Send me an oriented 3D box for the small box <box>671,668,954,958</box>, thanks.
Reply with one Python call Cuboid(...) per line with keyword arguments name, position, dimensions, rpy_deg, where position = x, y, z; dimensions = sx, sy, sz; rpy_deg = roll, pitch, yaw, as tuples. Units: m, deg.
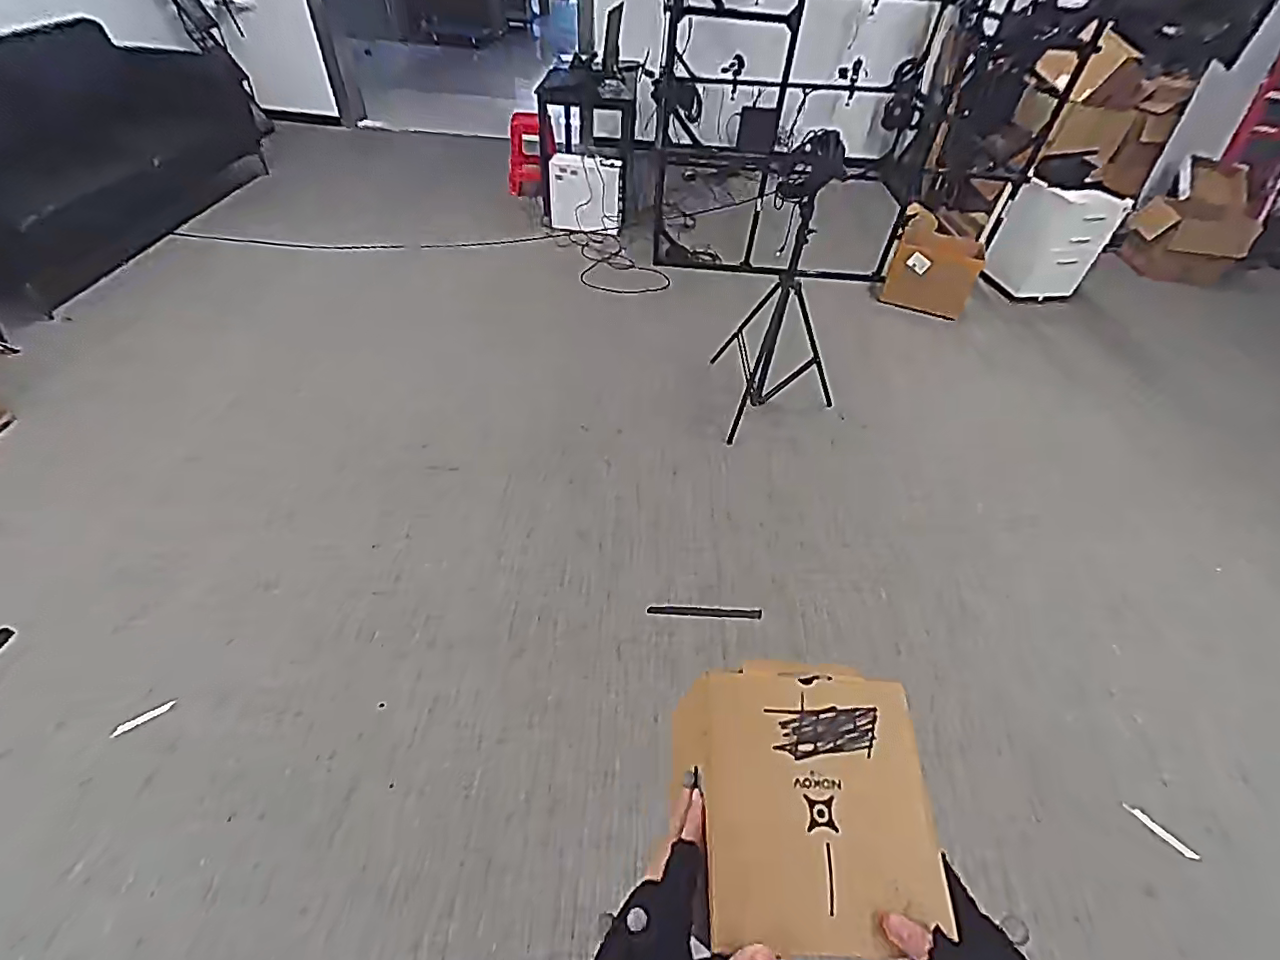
Cuboid(name="small box", position=(0.119, 0.273, 0.458), dimensions=(0.168, 0.176, 0.179), rpy_deg=(5, 58, -4))
